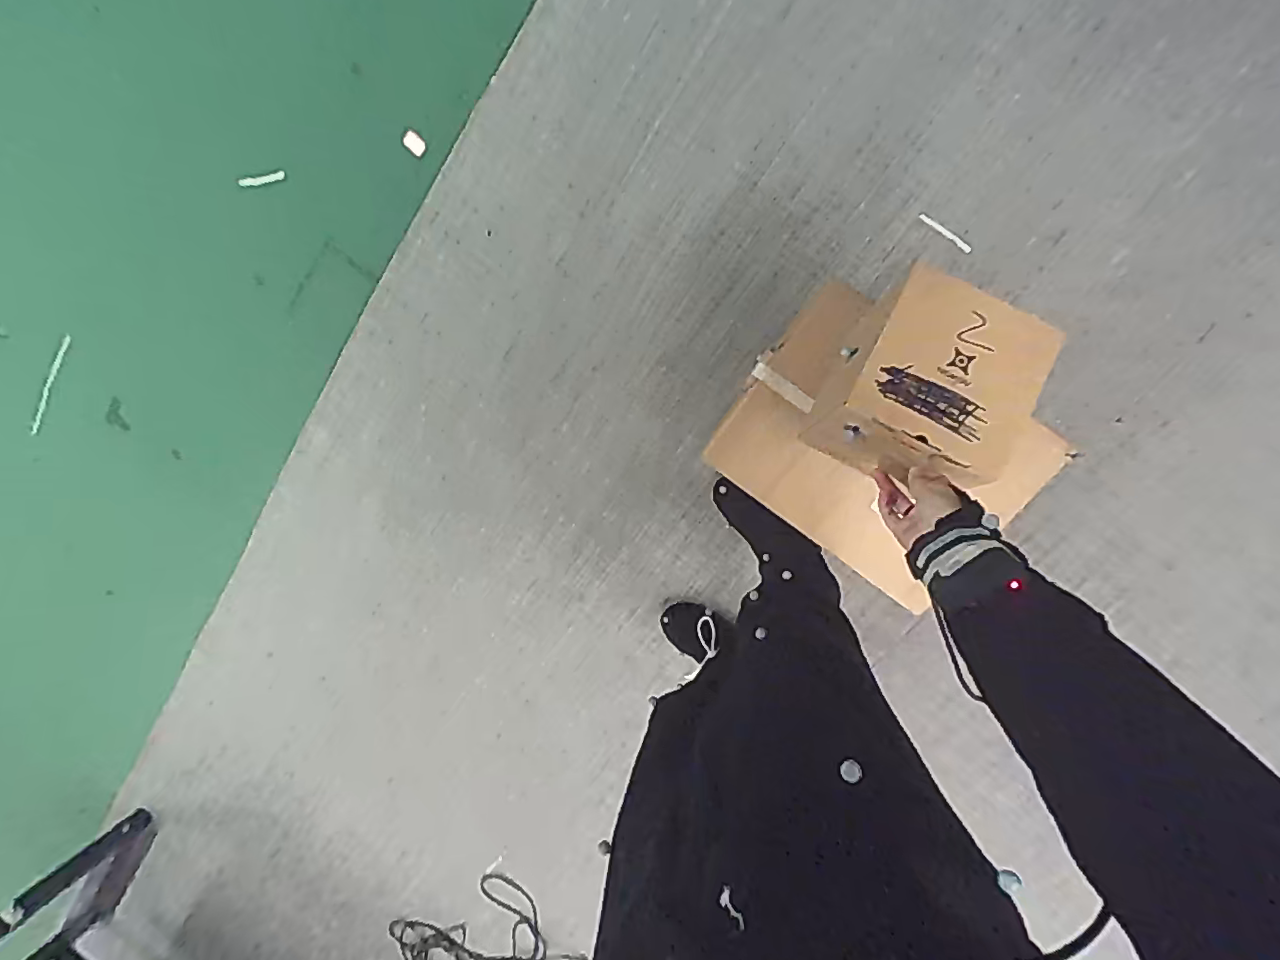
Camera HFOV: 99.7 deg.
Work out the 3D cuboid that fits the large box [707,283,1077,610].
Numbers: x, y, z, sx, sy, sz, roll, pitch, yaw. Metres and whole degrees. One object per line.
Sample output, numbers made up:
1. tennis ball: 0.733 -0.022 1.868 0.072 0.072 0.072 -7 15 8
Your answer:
1. large box: 0.364 -0.067 0.907 0.408 0.320 0.320 36 106 1
